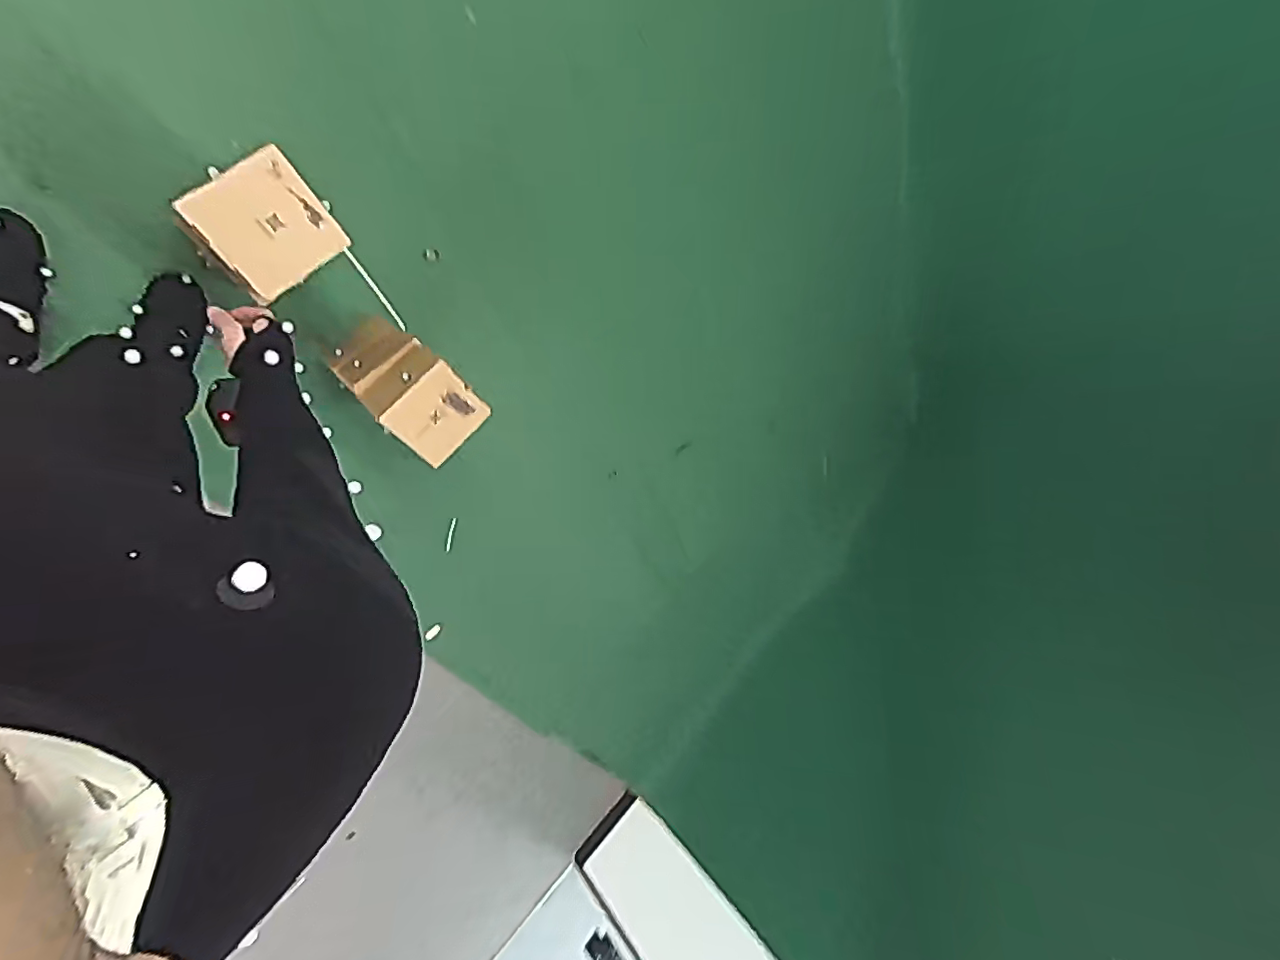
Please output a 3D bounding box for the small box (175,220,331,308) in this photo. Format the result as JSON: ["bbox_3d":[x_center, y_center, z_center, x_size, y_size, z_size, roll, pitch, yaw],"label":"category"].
[{"bbox_3d":[-0.740,-0.455,1.033,0.168,0.176,0.179,-46,133,-15],"label":"small box"}]

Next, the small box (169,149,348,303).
[{"bbox_3d":[-0.635,-0.421,0.908,0.179,0.176,0.168,-45,132,-16],"label":"small box"}]

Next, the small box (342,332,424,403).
[{"bbox_3d":[-0.578,-0.227,1.288,0.179,0.176,0.168,-45,134,-15],"label":"small box"}]

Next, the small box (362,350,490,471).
[{"bbox_3d":[-0.472,-0.158,1.183,0.179,0.176,0.168,-47,135,-10],"label":"small box"}]
